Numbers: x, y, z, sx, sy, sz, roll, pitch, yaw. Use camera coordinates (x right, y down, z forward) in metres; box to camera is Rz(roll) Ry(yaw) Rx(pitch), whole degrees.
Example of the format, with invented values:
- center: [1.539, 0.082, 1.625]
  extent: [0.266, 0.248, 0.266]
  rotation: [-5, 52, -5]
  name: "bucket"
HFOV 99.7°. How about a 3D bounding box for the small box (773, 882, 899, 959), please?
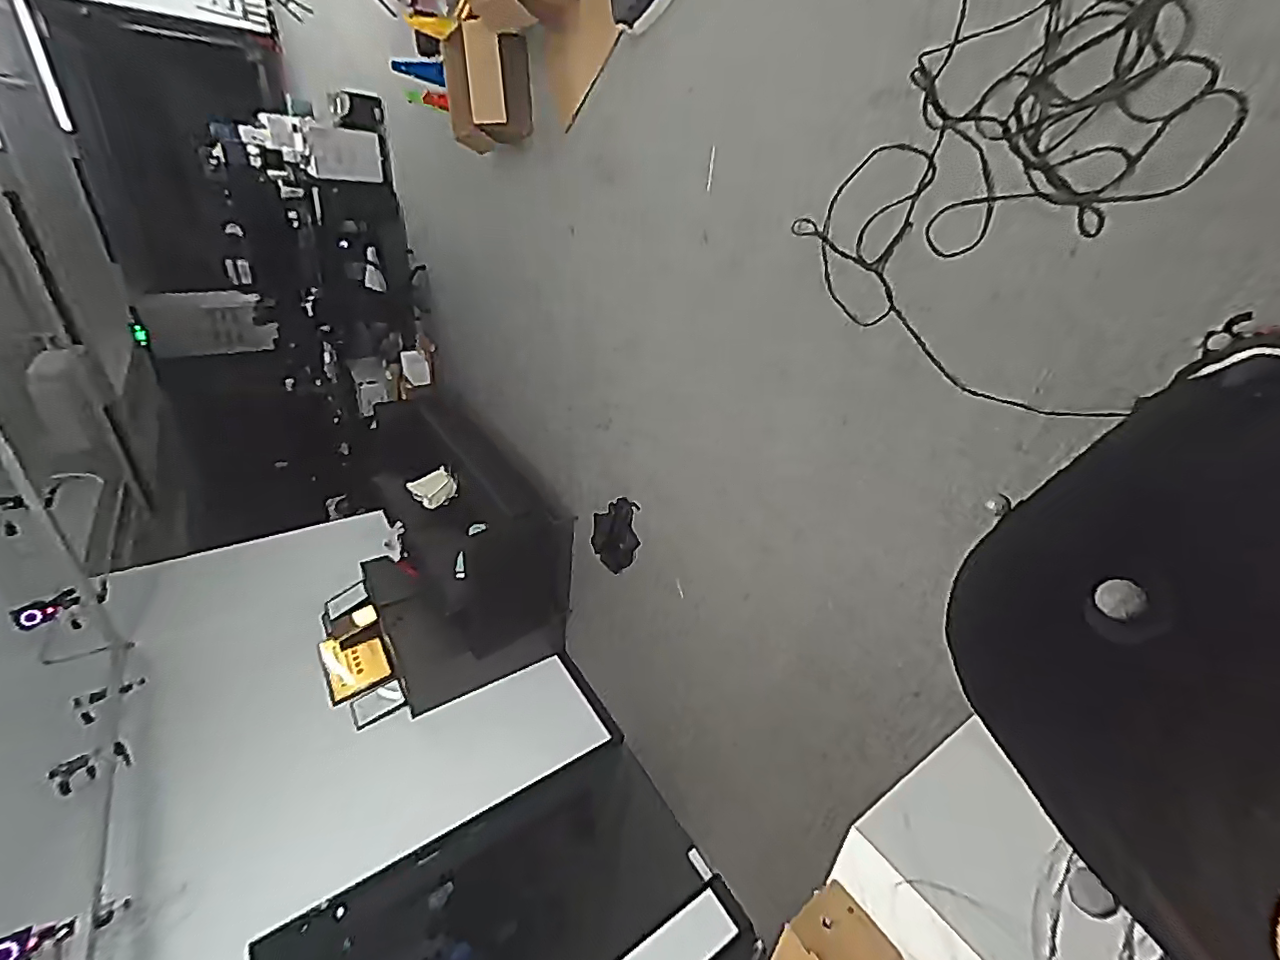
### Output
- center: [0.413, 1.006, 1.138]
  extent: [0.168, 0.176, 0.179]
  rotation: [38, 133, 45]
  name: "small box"
